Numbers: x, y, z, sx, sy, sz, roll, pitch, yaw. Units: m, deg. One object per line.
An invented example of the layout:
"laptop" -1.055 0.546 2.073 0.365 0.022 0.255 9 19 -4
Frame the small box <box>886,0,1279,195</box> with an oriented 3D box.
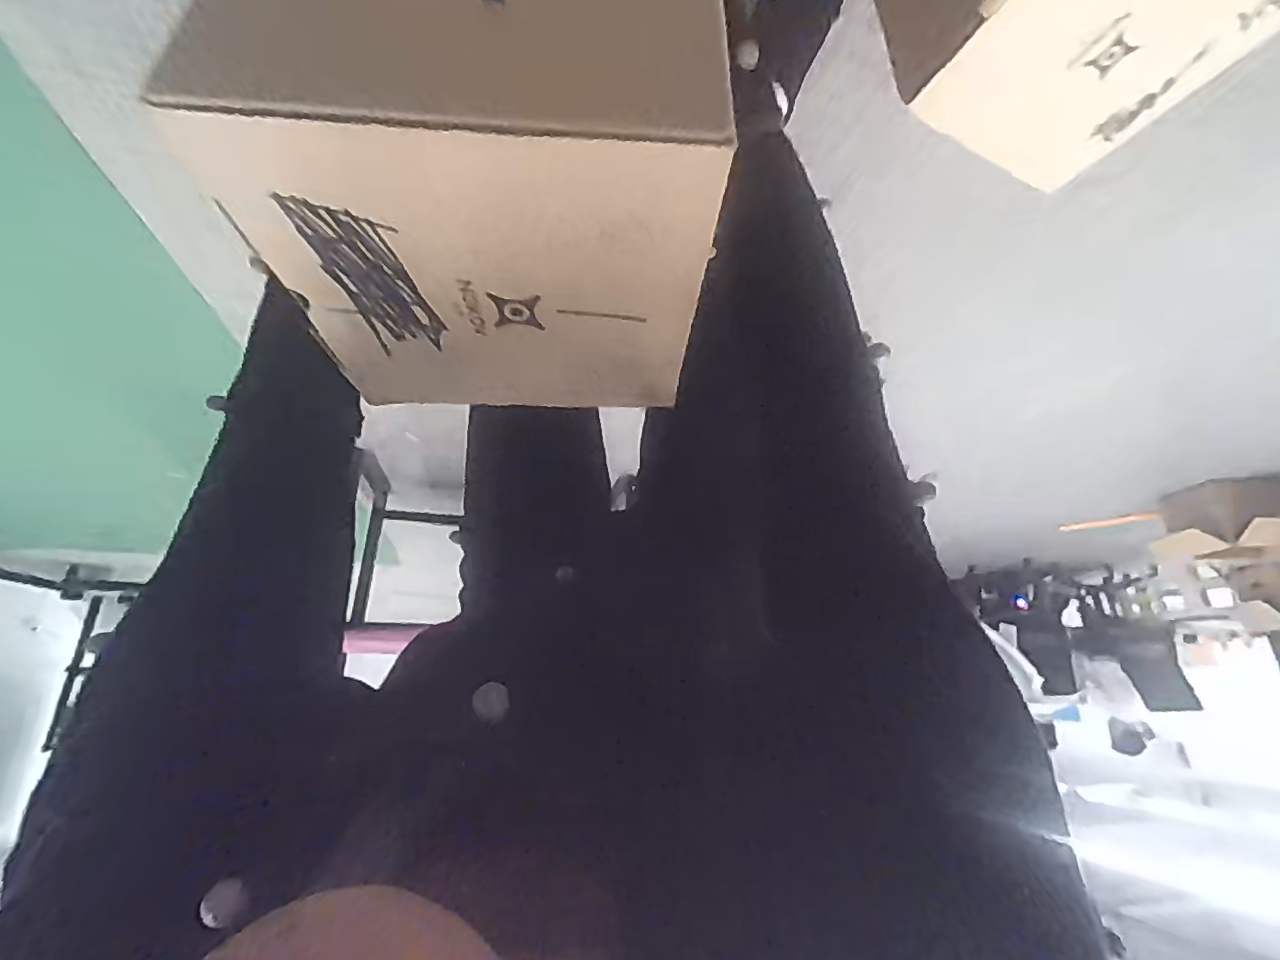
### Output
"small box" 0.296 -0.348 0.371 0.179 0.176 0.168 10 156 -24
